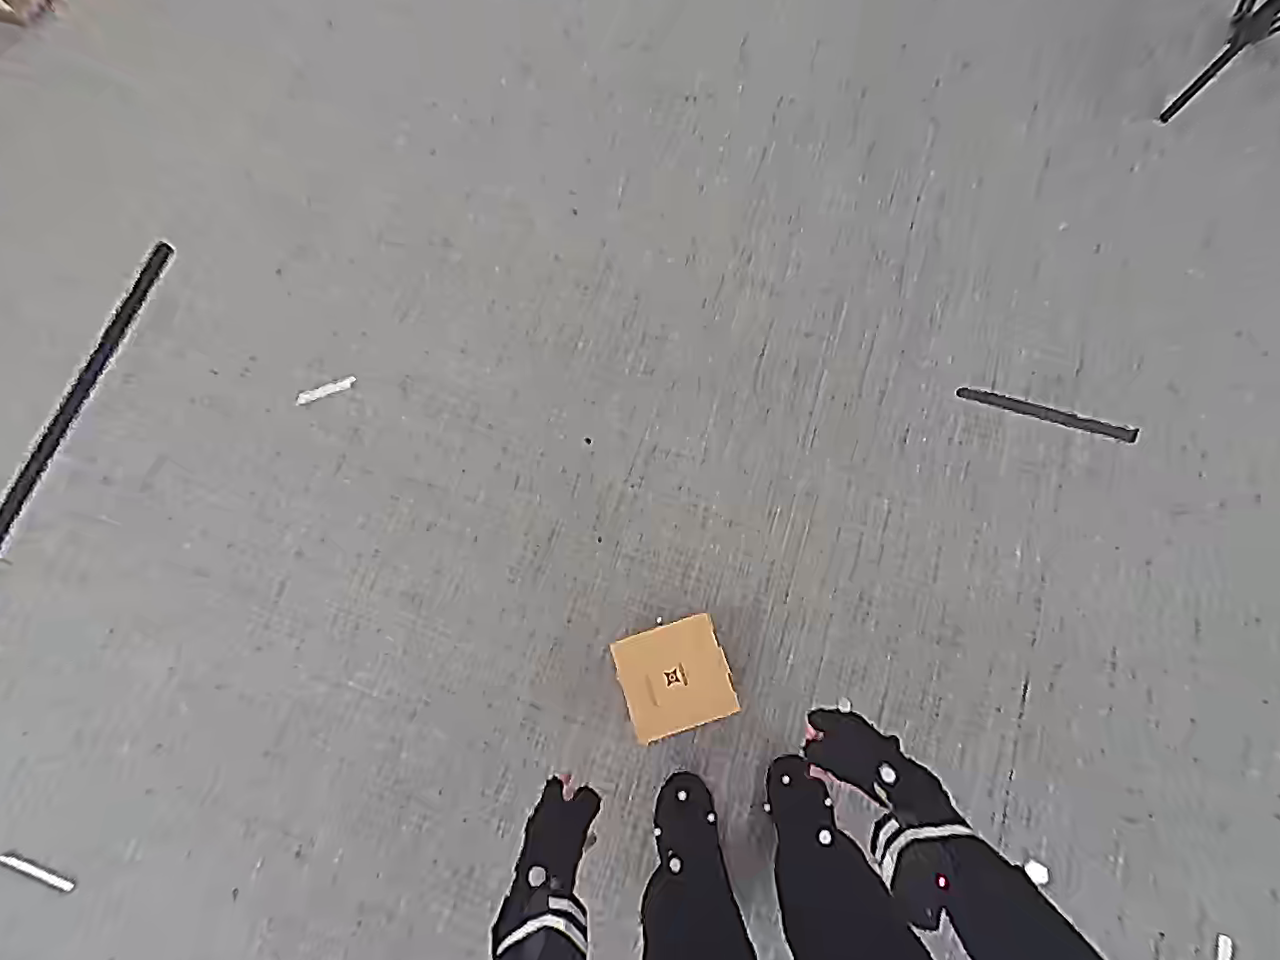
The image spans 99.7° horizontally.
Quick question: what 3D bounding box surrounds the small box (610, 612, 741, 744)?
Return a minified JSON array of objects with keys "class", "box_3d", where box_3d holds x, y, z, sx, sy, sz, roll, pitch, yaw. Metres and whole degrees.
[{"class":"small box","box_3d":[0.058,0.334,0.950,0.179,0.176,0.168,-18,76,-2]}]
